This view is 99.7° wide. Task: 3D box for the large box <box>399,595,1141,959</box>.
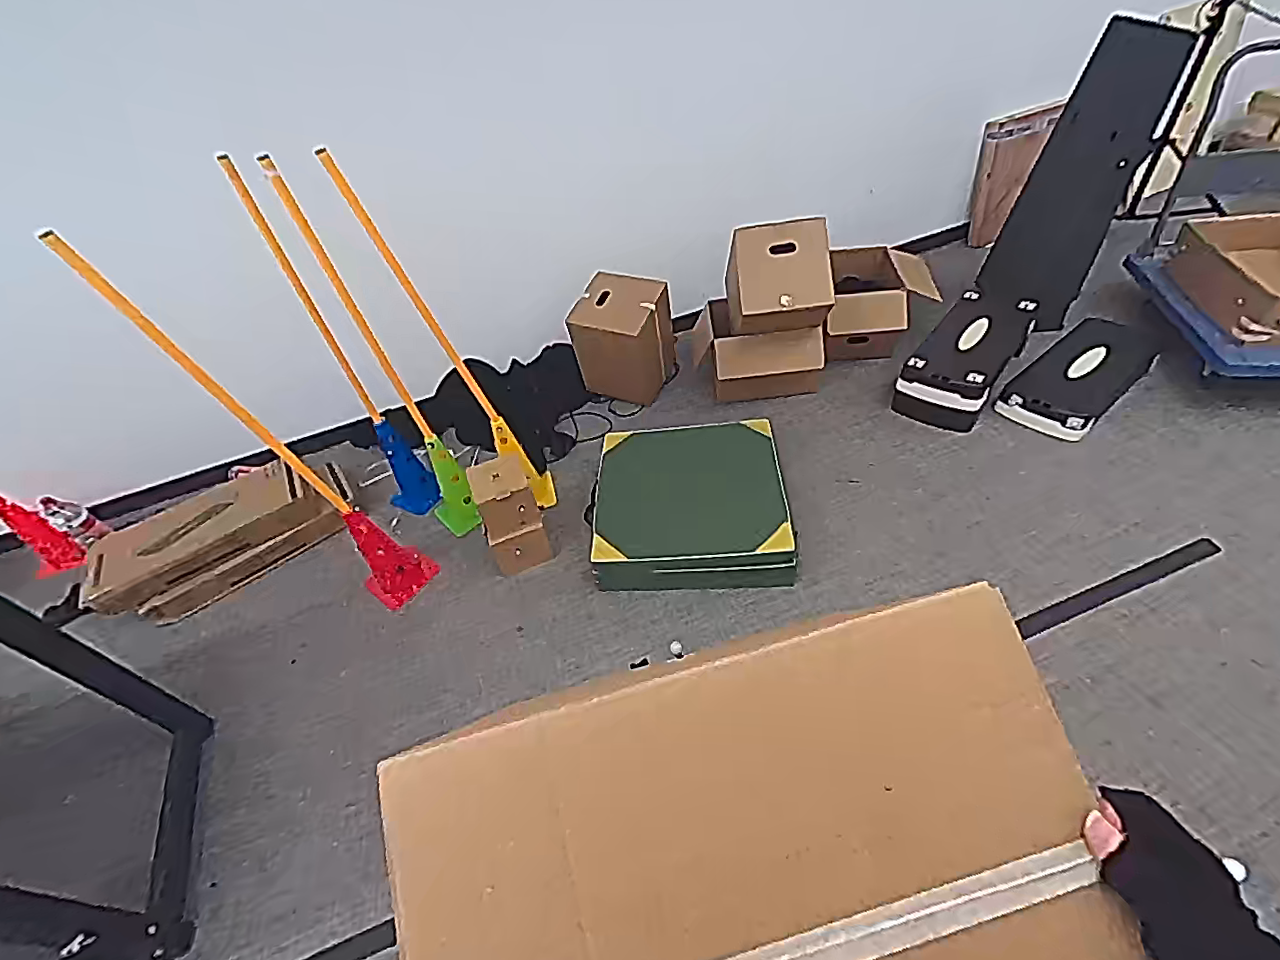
[{"bbox_3d":[0.083,0.312,0.455,0.408,0.320,0.320,-16,73,-3],"label":"large box"}]
